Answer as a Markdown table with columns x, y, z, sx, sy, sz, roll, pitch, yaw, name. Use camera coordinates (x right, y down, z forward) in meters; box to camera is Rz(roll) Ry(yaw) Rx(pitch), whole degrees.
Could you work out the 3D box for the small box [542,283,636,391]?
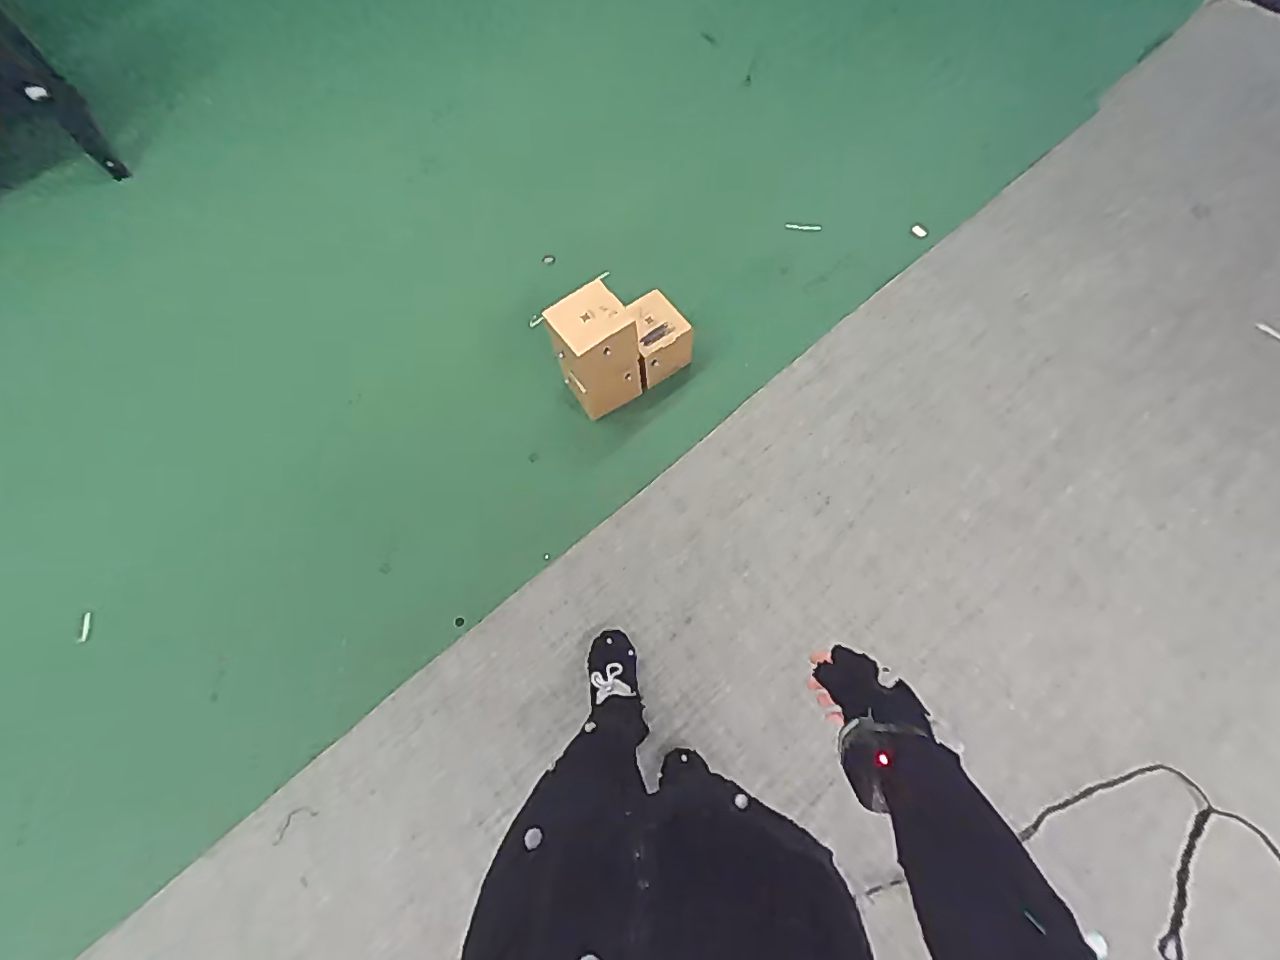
| x | y | z | sx | sy | sz | roll | pitch | yaw | name |
| --- | --- | --- | --- | --- | --- | --- | --- | --- | --- |
| -0.123 | -0.362 | 1.398 | 0.179 | 0.176 | 0.168 | -35 | 71 | -11 | small box |
